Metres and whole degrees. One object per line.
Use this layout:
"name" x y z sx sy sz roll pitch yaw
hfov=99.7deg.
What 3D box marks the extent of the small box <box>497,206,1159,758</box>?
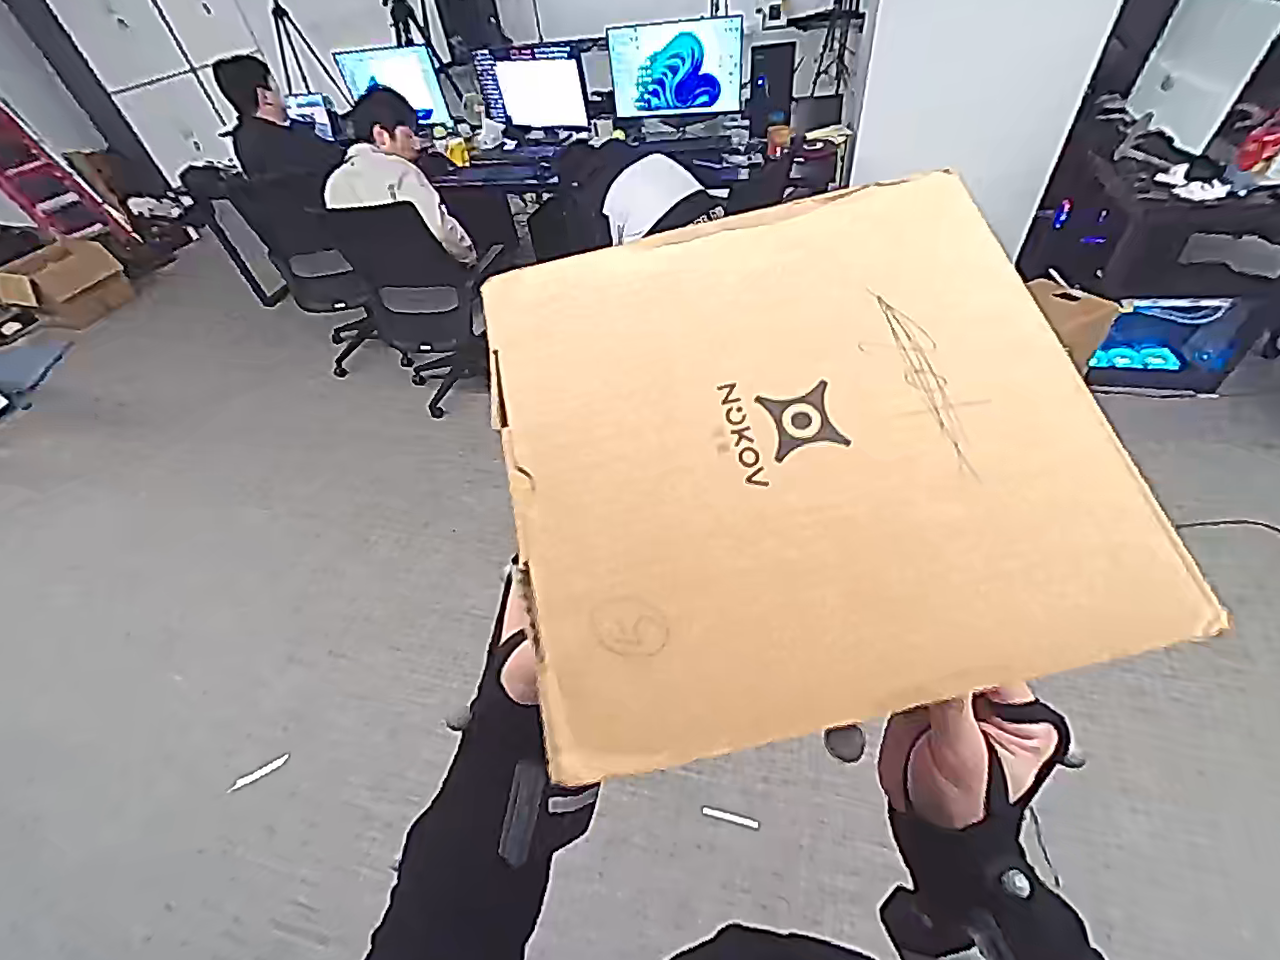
"small box" 0.052 0.016 0.254 0.179 0.176 0.168 -14 69 -1
